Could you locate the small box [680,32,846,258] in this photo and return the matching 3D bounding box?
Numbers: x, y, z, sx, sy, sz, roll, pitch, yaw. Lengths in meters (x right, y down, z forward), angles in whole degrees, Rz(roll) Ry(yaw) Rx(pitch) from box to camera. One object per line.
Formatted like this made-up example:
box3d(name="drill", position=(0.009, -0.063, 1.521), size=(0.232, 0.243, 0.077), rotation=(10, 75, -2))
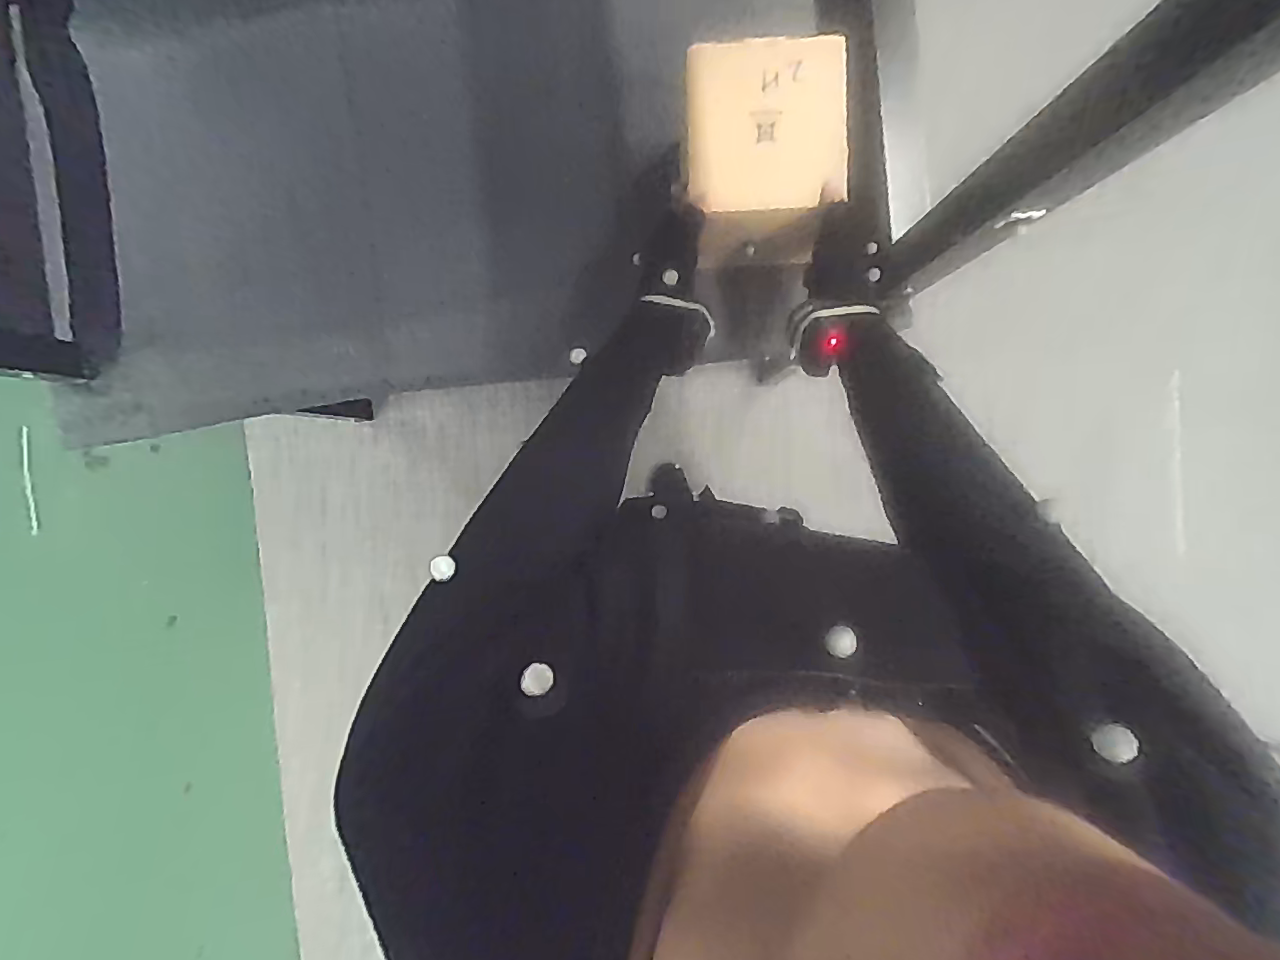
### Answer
box3d(name="small box", position=(0.134, -0.375, 0.641), size=(0.168, 0.176, 0.179), rotation=(-1, 92, 2))
